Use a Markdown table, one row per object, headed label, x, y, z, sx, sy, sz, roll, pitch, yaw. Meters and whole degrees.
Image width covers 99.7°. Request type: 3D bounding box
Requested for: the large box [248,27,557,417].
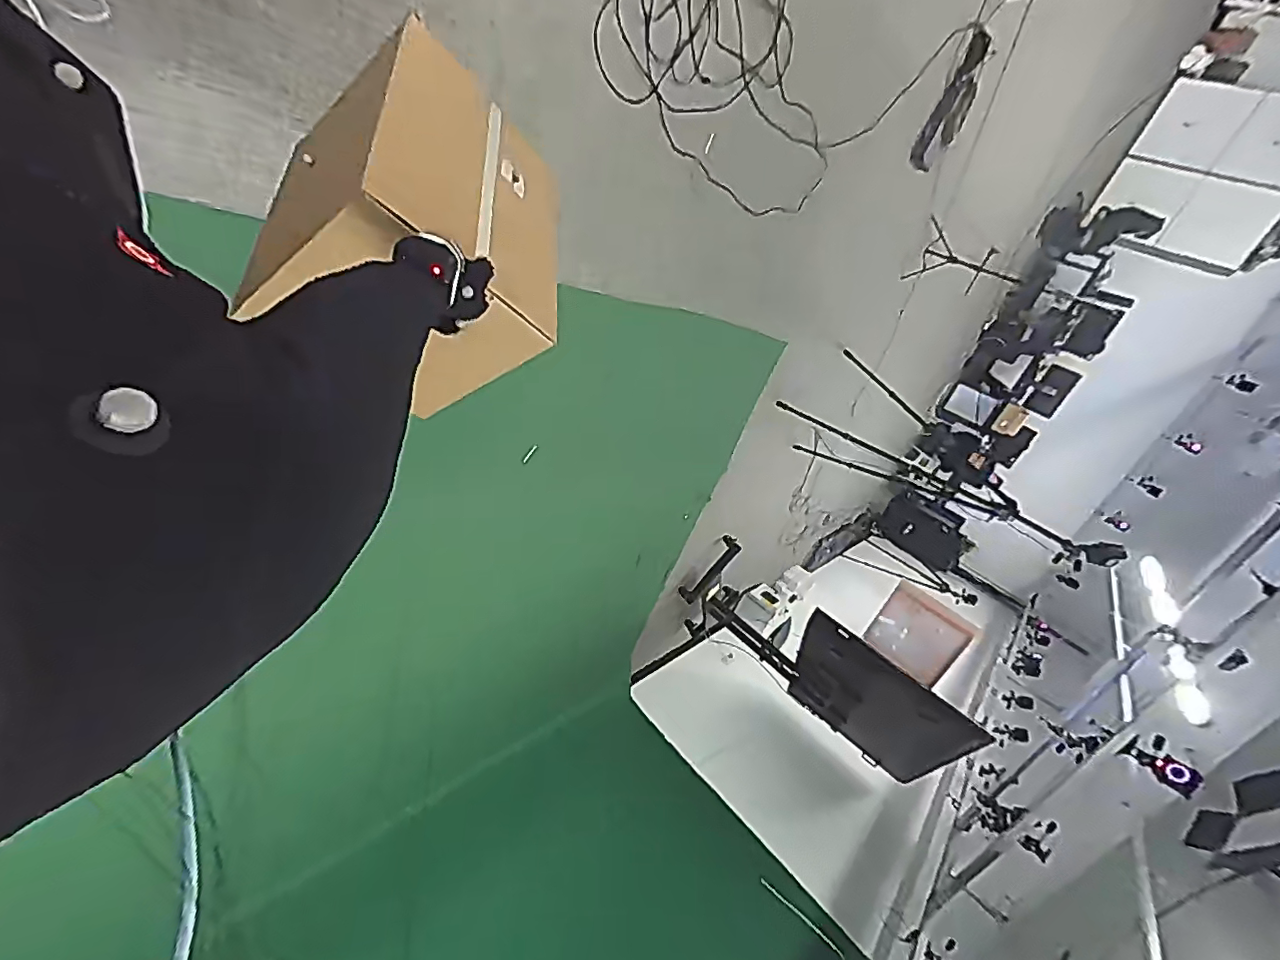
| label | x | y | z | sx | sy | sz | roll | pitch | yaw |
| --- | --- | --- | --- | --- | --- | --- | --- | --- | --- |
| large box | -0.354 | -0.378 | 0.870 | 0.320 | 0.408 | 0.320 | -22 | 148 | 28 |
